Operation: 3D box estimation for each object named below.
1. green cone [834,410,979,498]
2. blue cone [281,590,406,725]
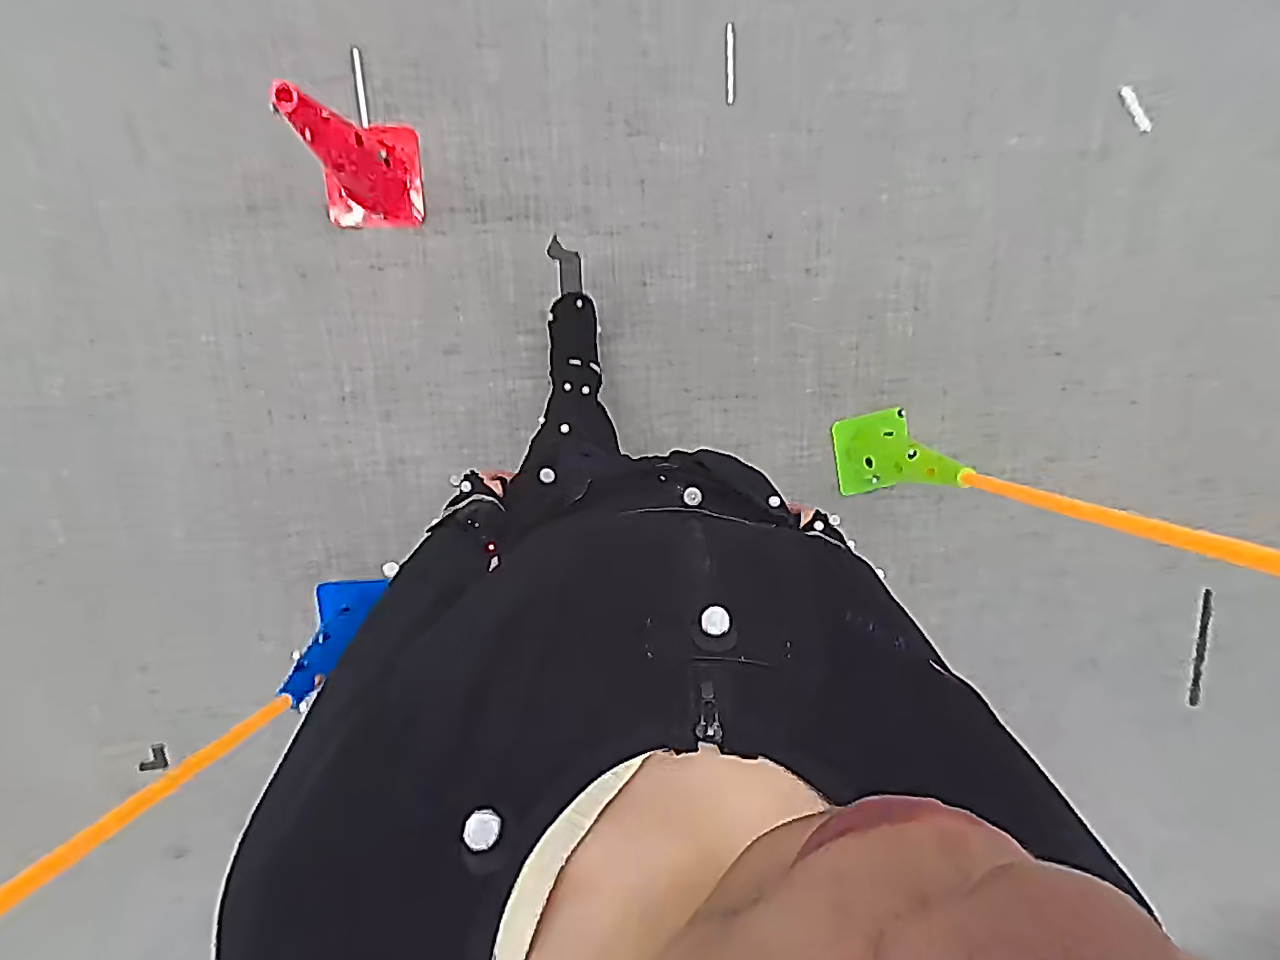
[{"bbox_3d":[0.623,-0.031,1.232,0.200,0.368,0.202,-14,104,-3],"label":"green cone"},{"bbox_3d":[-0.673,0.396,1.186,0.193,0.380,0.192,-1,101,-6],"label":"blue cone"}]
